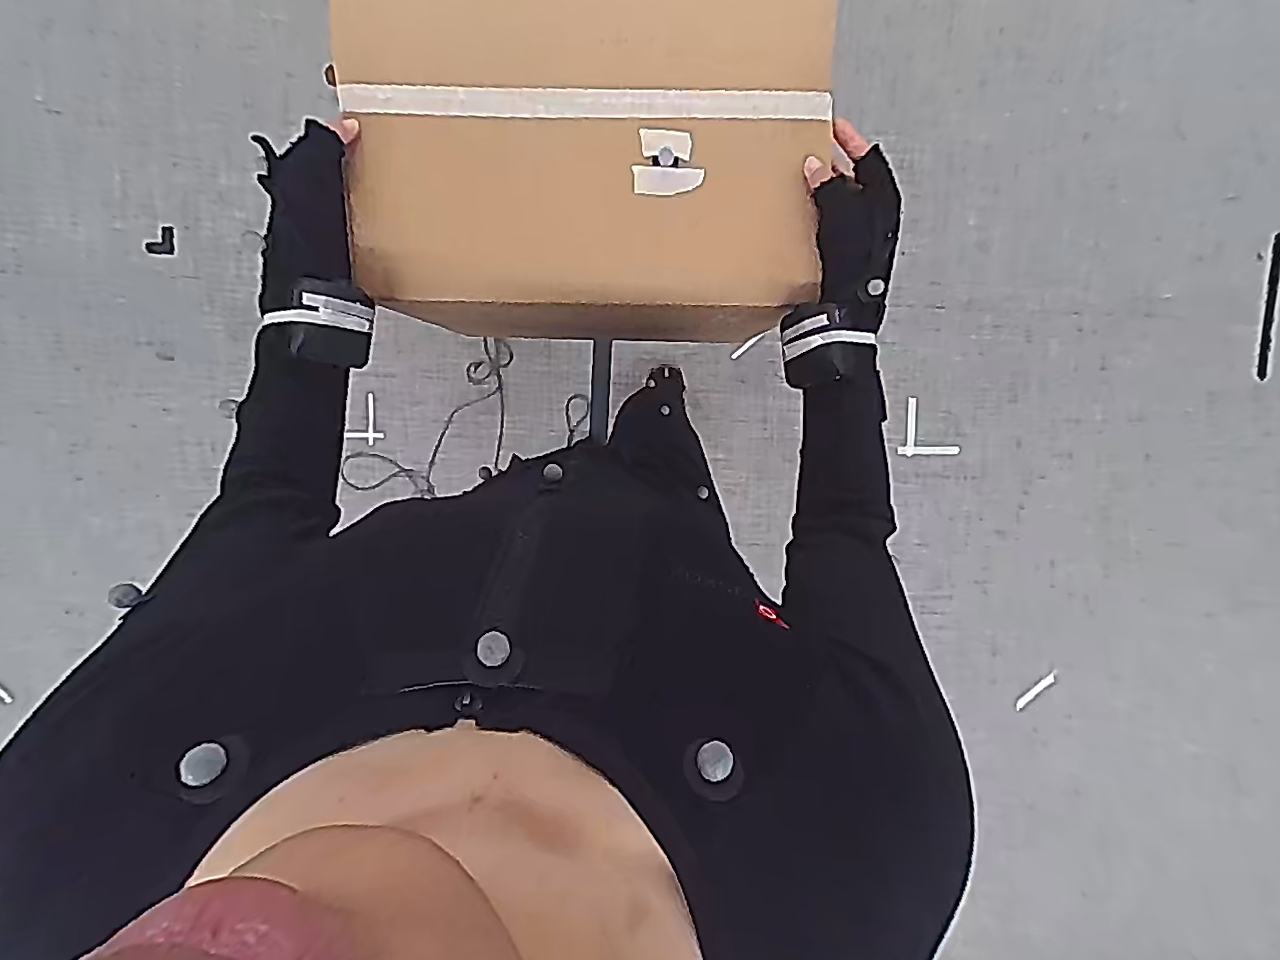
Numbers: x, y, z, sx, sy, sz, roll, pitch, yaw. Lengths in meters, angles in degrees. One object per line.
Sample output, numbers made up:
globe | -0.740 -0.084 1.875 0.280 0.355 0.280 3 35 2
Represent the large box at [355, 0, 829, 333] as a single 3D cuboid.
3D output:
large box | -0.043 -0.344 0.610 0.408 0.320 0.320 0 100 -1
